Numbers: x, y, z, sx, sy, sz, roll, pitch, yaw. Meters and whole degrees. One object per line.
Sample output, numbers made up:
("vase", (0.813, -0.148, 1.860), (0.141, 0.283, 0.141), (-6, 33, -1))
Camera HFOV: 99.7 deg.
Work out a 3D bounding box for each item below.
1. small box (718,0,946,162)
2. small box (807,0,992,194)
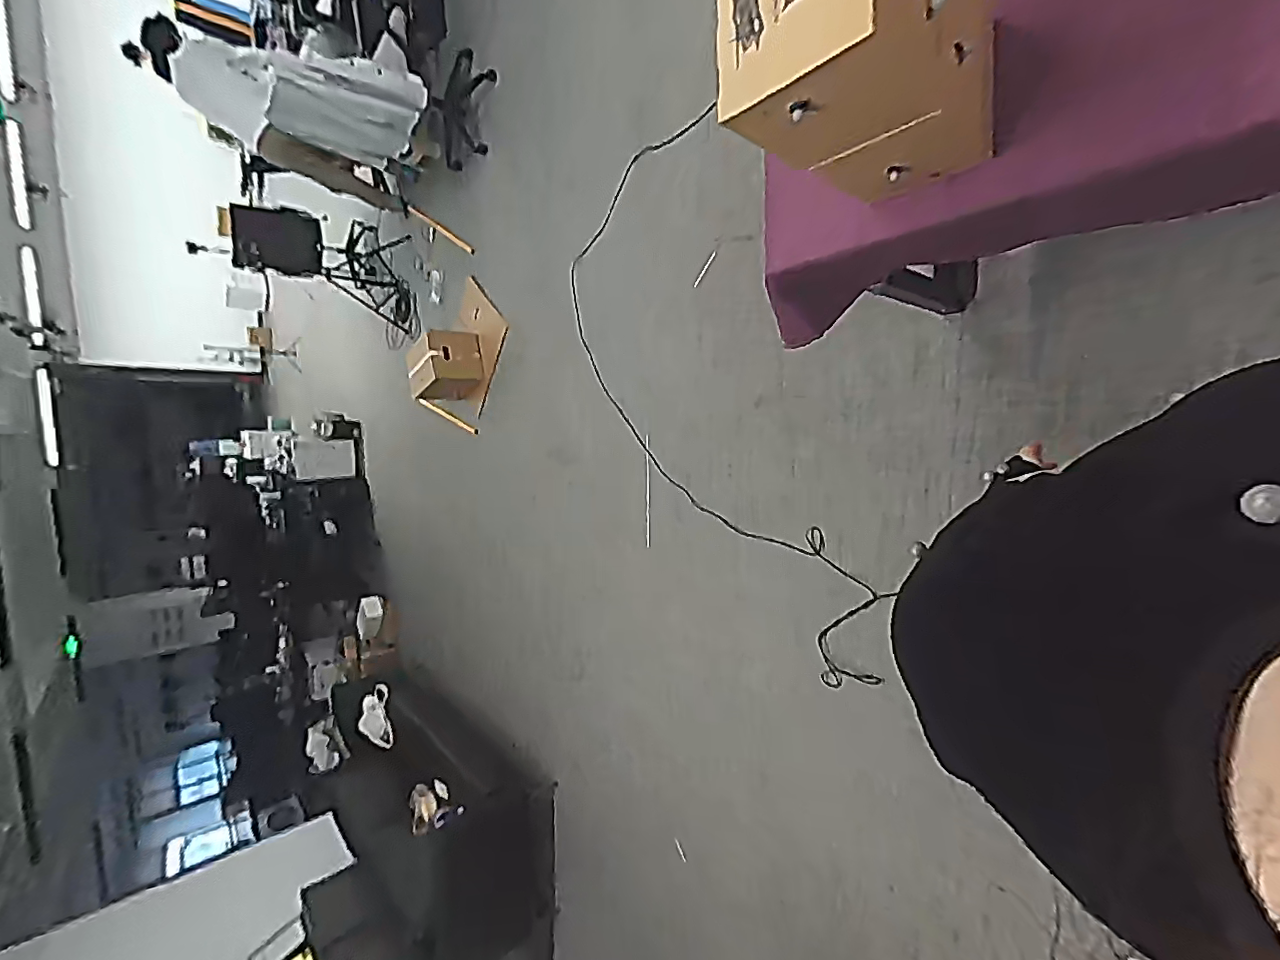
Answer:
("small box", (0.203, -0.477, 0.580), (0.179, 0.176, 0.168), (3, 96, 48))
("small box", (0.328, -0.488, 0.687), (0.168, 0.176, 0.179), (3, 96, 48))
